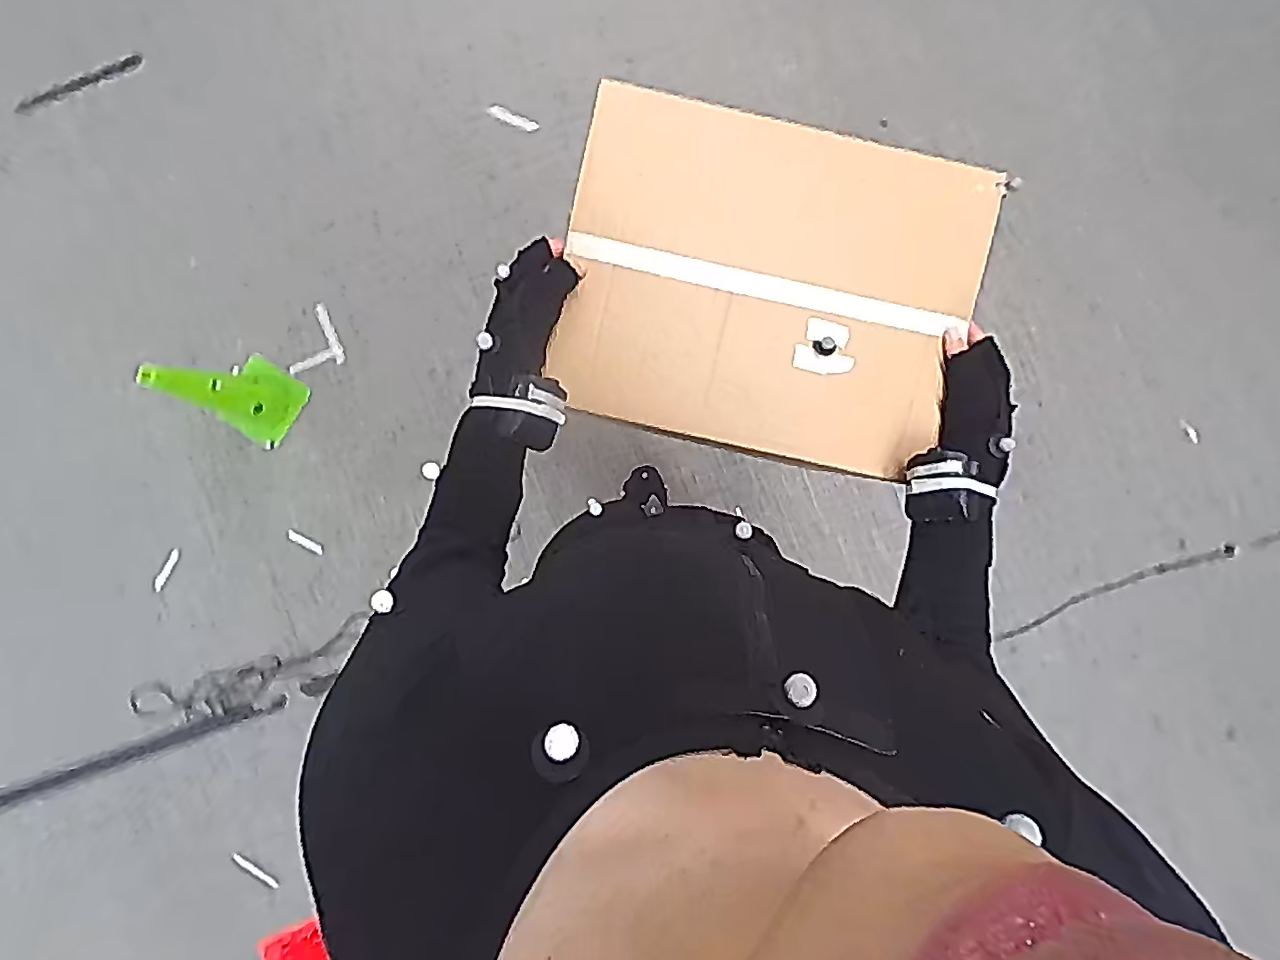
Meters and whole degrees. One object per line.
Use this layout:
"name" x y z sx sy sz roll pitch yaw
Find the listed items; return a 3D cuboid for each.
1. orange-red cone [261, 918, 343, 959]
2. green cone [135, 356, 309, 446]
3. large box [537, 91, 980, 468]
"orange-red cone" -0.907 1.301 1.293 0.199 0.360 0.198 -23 89 -1
"green cone" -1.048 -0.229 1.330 0.202 0.368 0.200 32 89 3
"large box" 0.113 -0.205 0.687 0.408 0.320 0.320 11 94 -2
